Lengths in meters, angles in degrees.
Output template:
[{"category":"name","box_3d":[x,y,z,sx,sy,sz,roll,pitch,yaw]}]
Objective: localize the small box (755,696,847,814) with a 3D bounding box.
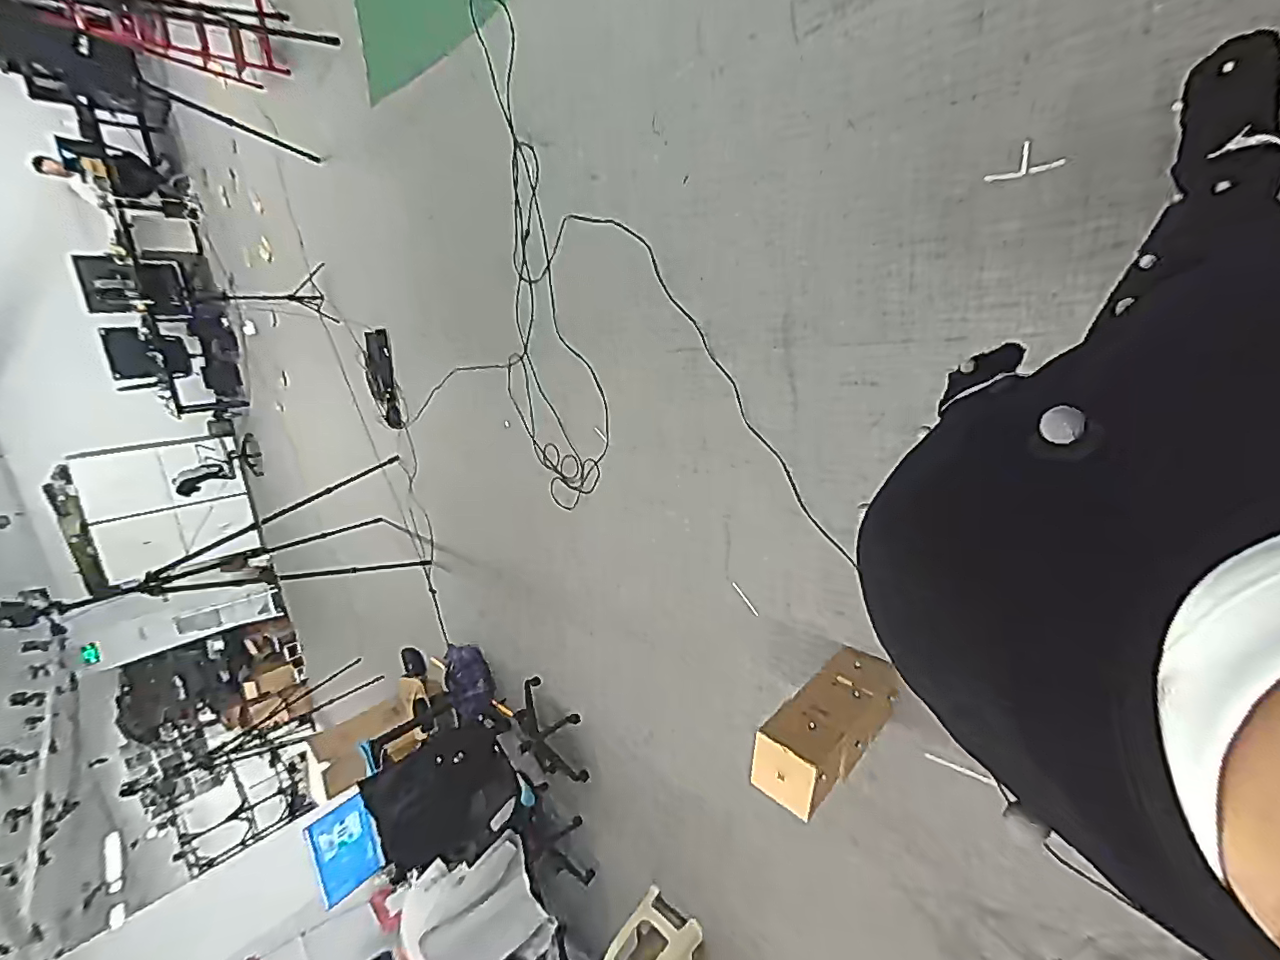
[{"category":"small box","box_3d":[0.421,0.708,1.409,0.168,0.176,0.179,19,116,40]}]

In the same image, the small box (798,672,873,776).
[{"category":"small box","box_3d":[0.539,0.672,1.515,0.168,0.176,0.179,13,114,42]}]

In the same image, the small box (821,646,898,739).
[{"category":"small box","box_3d":[0.658,0.629,1.625,0.168,0.176,0.179,10,109,46]}]
